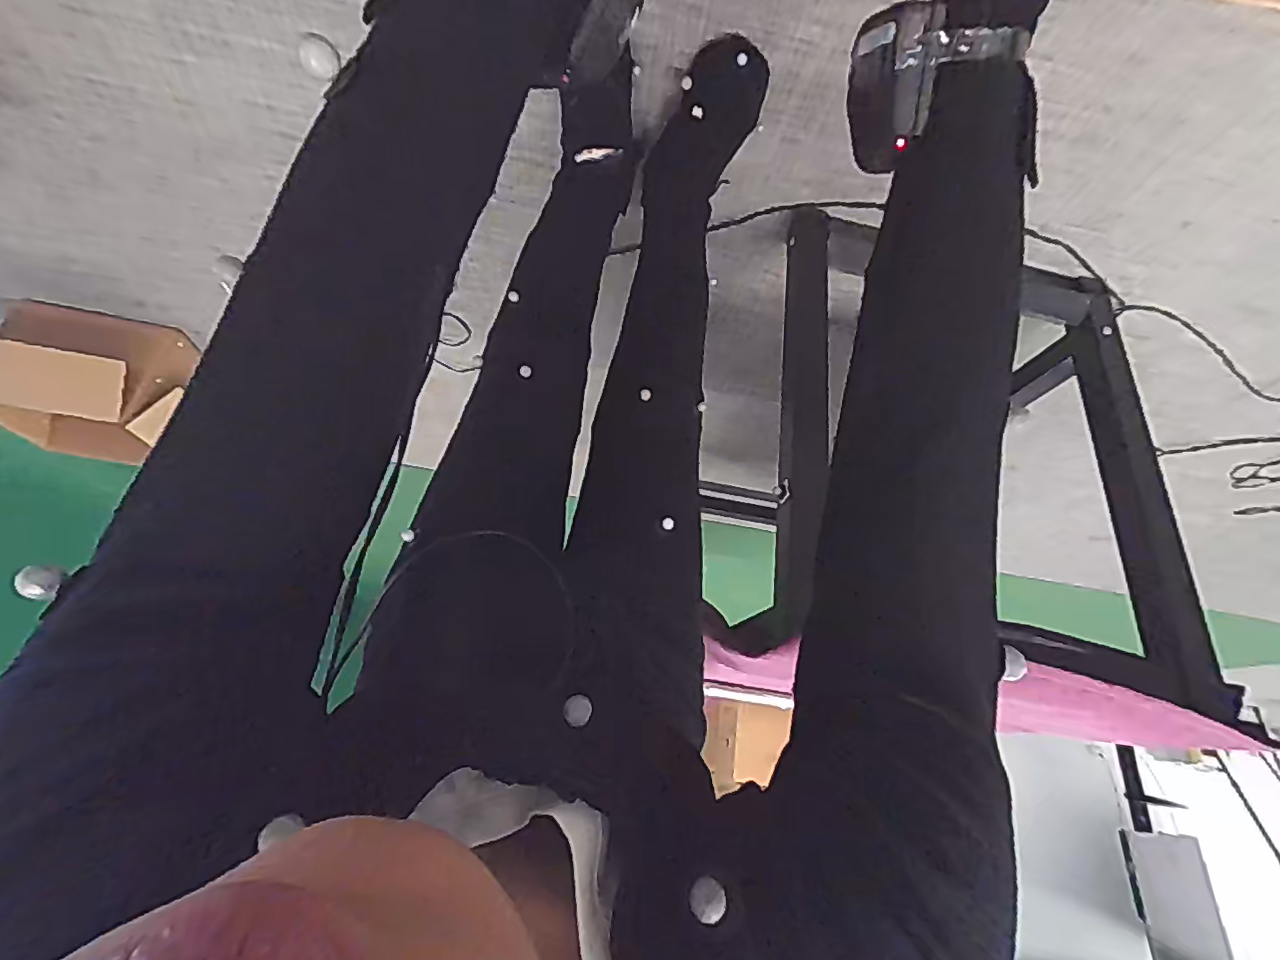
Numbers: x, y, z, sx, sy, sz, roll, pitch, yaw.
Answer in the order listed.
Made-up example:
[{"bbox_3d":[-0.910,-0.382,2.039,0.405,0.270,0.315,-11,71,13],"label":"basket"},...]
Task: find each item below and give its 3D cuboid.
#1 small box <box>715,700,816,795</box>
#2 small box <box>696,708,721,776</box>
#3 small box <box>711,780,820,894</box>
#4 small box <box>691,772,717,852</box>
[{"bbox_3d":[0.276,0.591,1.208,0.179,0.176,0.168,9,154,-3],"label":"small box"},{"bbox_3d":[0.267,0.731,1.497,0.179,0.176,0.168,11,155,-6],"label":"small box"},{"bbox_3d":[0.261,0.741,1.140,0.179,0.176,0.168,11,154,-6],"label":"small box"},{"bbox_3d":[0.245,0.875,1.421,0.179,0.176,0.168,12,155,-5],"label":"small box"}]
